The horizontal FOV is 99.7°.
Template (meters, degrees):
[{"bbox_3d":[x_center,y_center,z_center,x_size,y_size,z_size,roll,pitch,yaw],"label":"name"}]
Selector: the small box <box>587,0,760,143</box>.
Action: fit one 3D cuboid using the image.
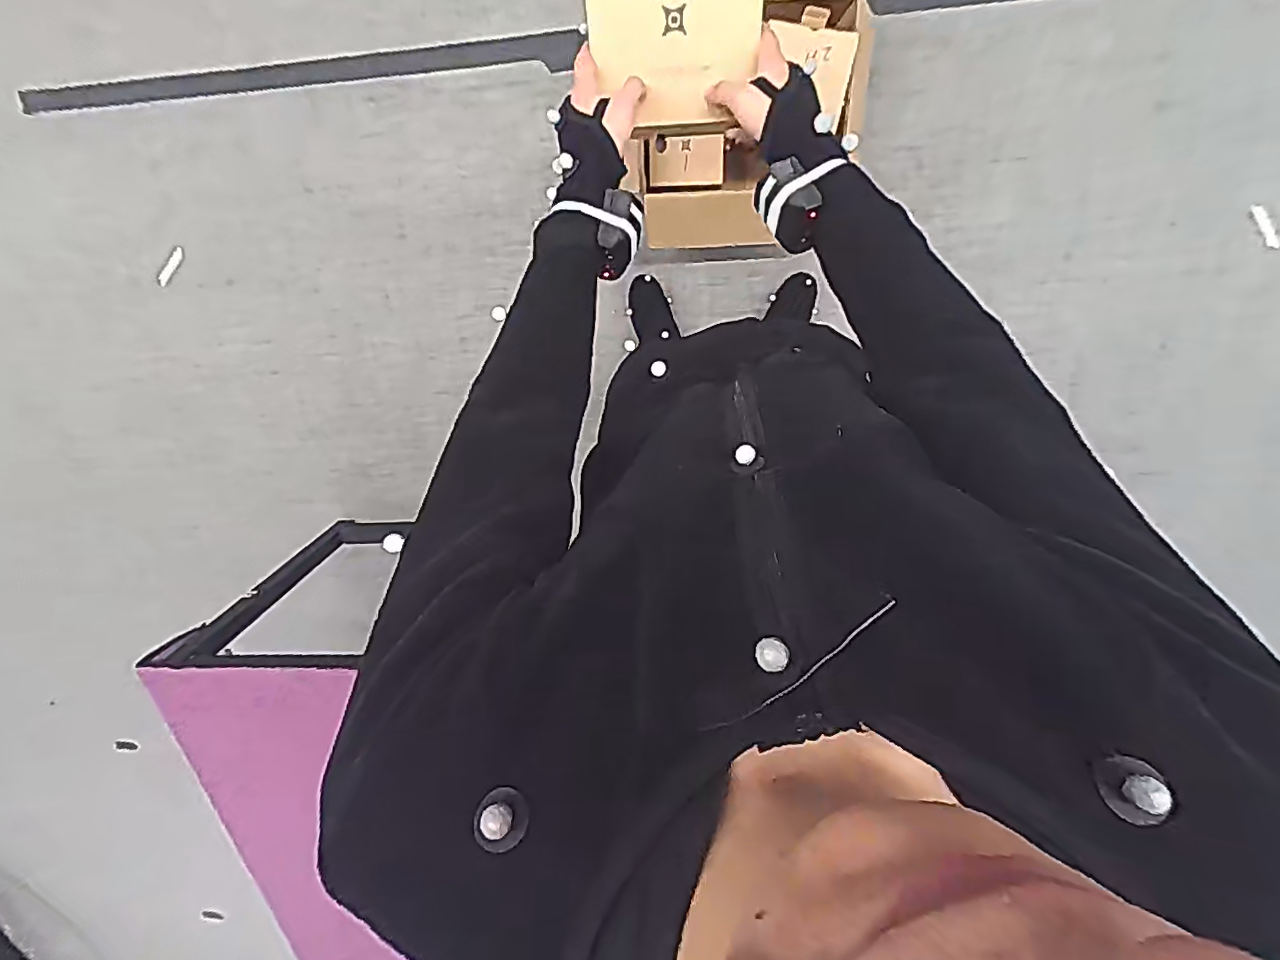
[{"bbox_3d":[0.034,-0.477,0.581,0.168,0.176,0.179,-1,118,4],"label":"small box"}]
